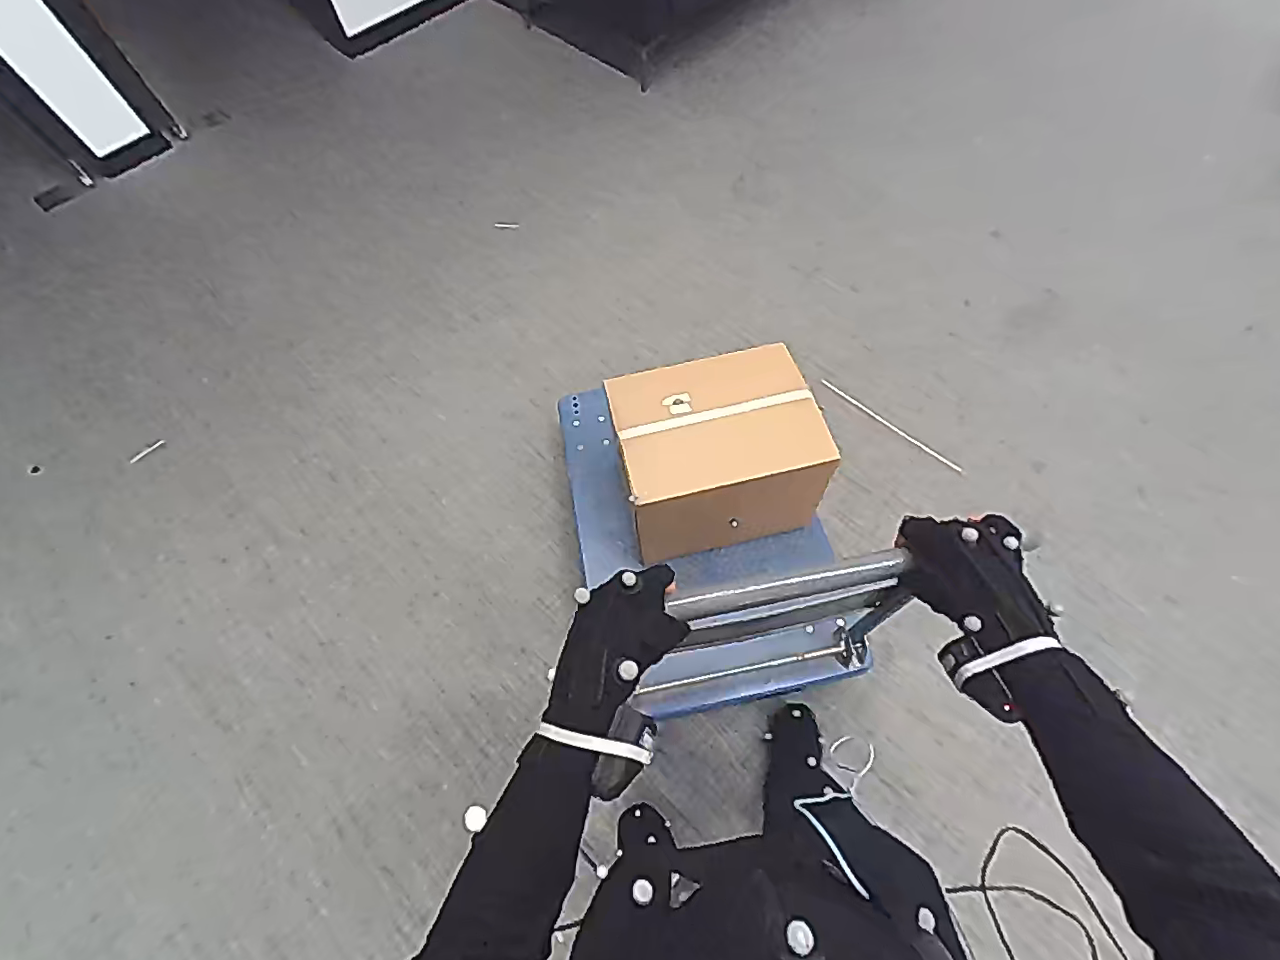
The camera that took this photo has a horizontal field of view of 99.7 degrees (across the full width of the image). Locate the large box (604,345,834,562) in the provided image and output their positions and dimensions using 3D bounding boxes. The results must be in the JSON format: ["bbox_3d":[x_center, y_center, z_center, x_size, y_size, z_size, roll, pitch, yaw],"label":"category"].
[{"bbox_3d":[0.162,-0.049,1.232,0.408,0.320,0.320,-15,60,-3],"label":"large box"}]
